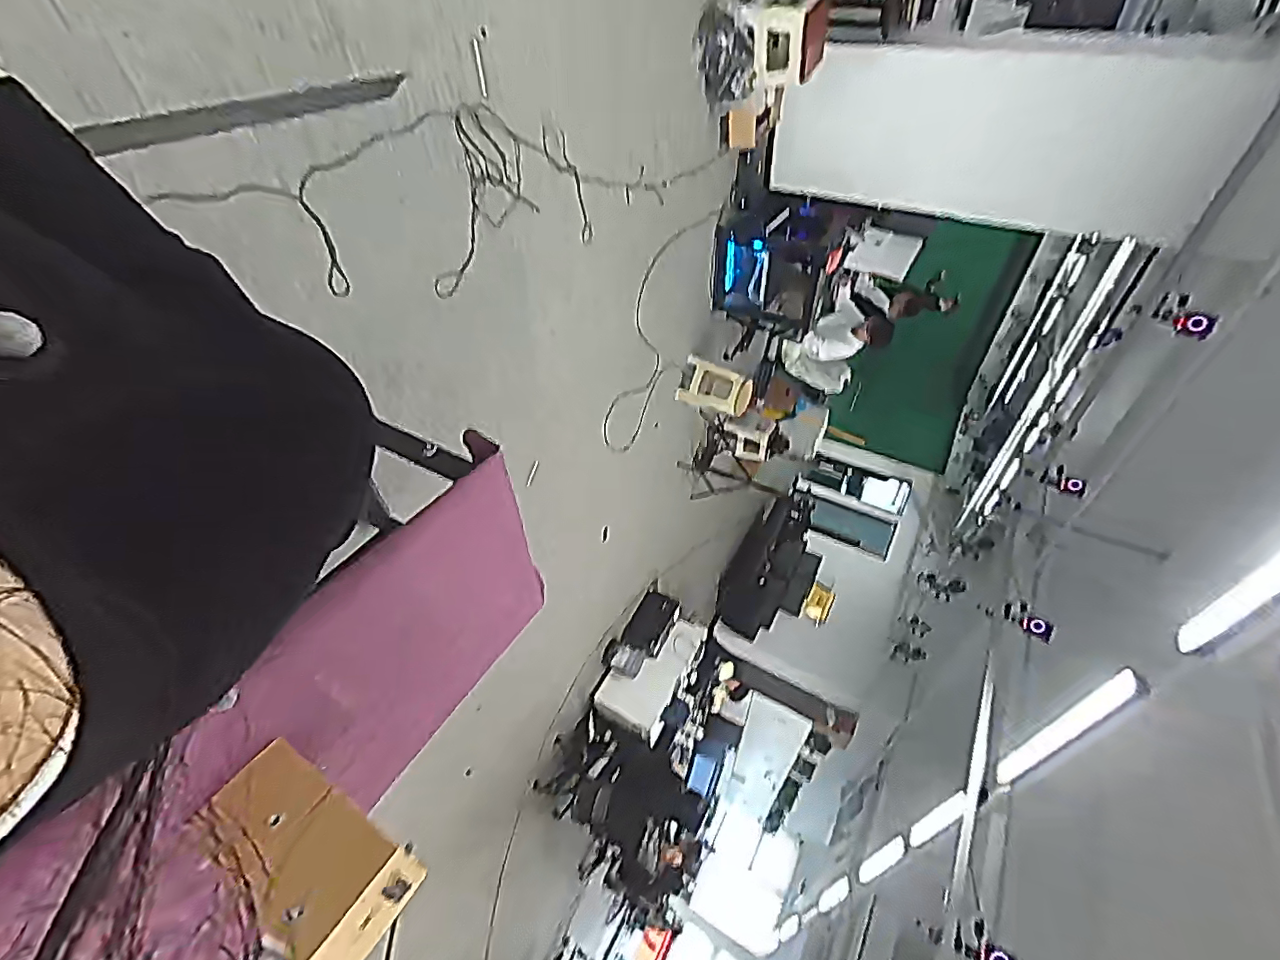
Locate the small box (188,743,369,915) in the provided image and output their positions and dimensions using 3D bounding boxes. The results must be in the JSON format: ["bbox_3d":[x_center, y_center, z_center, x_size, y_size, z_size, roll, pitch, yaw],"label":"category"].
[{"bbox_3d":[-0.629,0.605,0.951,0.179,0.176,0.168,-47,149,-38],"label":"small box"}]
